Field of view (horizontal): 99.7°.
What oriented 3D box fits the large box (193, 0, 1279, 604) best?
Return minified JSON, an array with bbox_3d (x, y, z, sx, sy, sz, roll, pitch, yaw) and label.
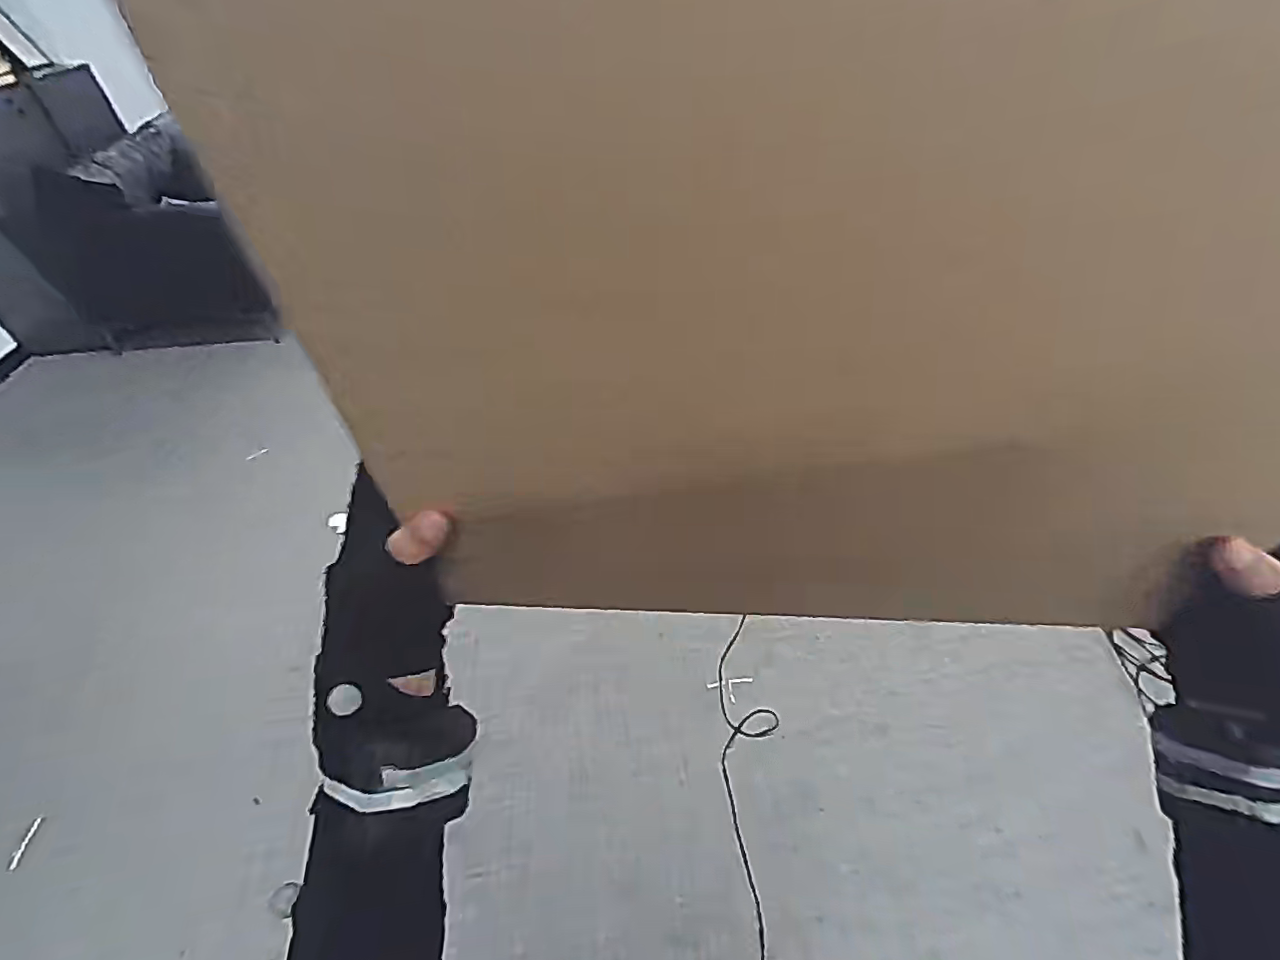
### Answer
[{"bbox_3d":[0.093,-0.141,0.301,0.408,0.320,0.320,2,49,0],"label":"large box"}]
